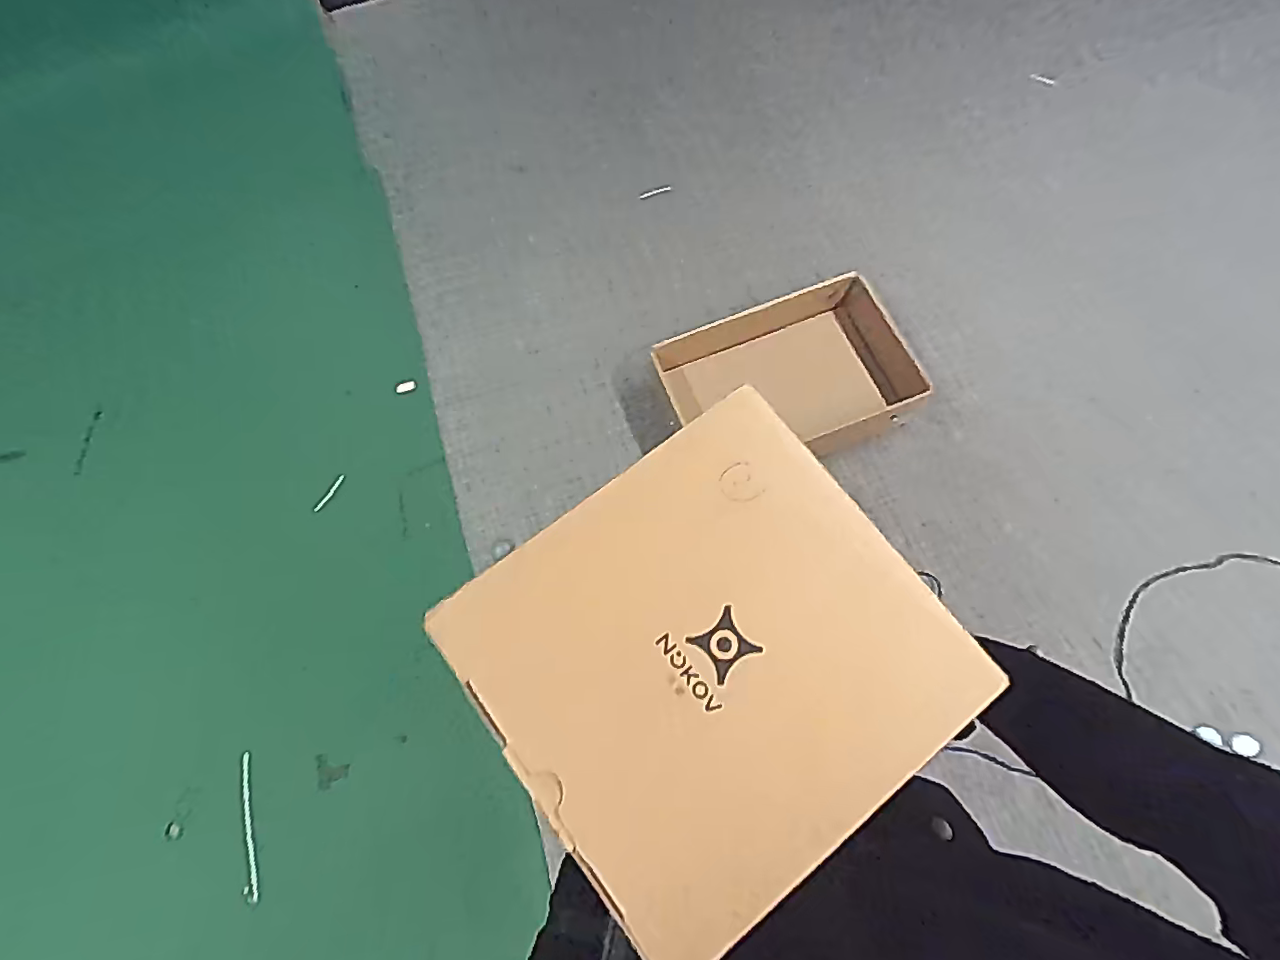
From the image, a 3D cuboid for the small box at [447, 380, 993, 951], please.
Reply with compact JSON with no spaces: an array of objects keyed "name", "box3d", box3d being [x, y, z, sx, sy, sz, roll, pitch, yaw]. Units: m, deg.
[{"name":"small box","box3d":[0.031,0.081,0.304,0.179,0.176,0.168,-36,79,-8]}]
